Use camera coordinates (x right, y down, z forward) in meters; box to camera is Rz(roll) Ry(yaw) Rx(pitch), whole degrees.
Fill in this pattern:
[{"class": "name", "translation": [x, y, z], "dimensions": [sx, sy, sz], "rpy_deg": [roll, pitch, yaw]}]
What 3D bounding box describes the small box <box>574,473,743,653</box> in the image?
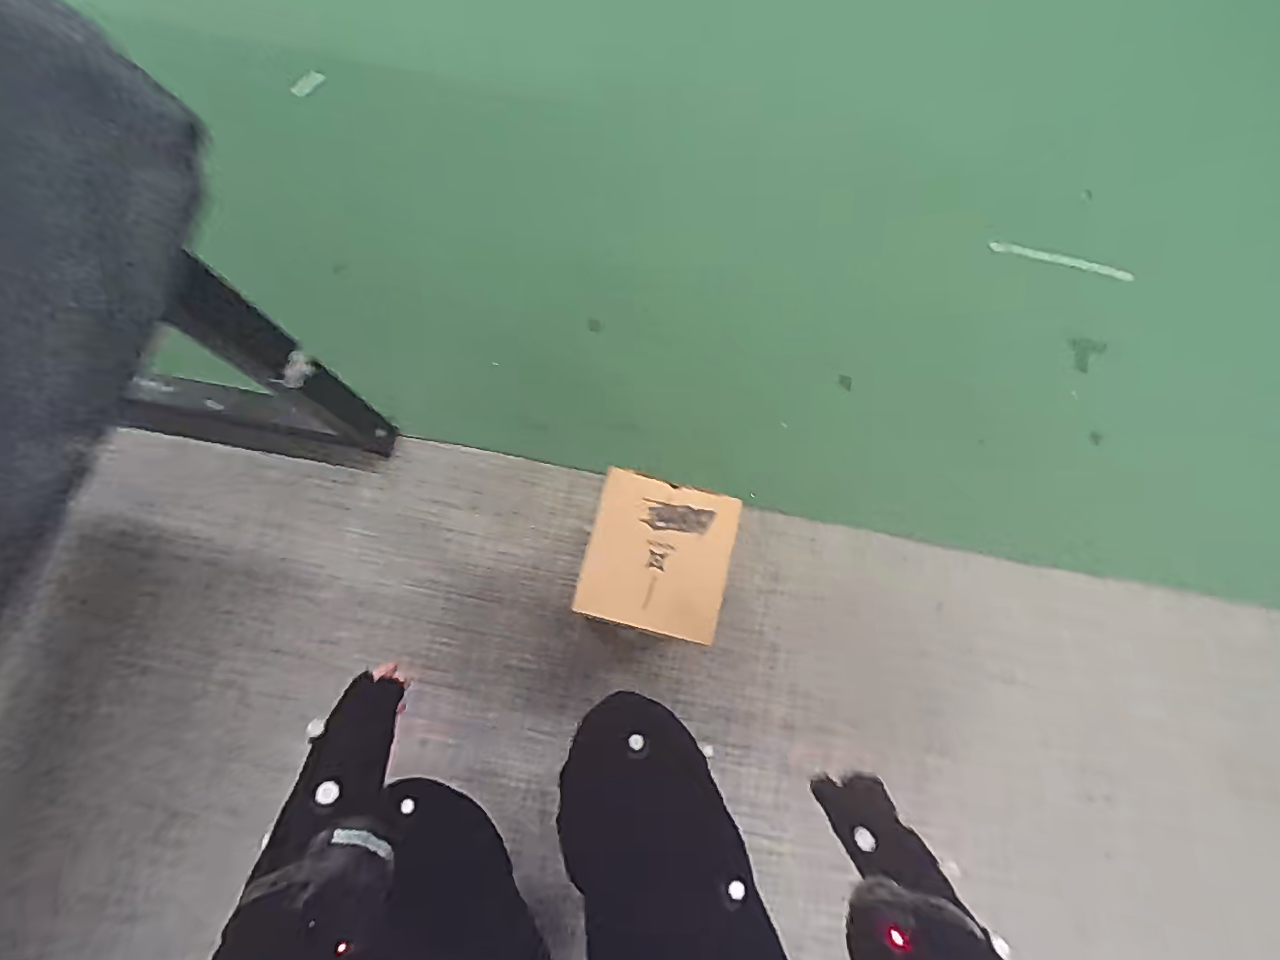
[{"class": "small box", "translation": [0.020, 0.112, 0.706], "dimensions": [0.168, 0.176, 0.179], "rpy_deg": [15, 76, 1]}]
